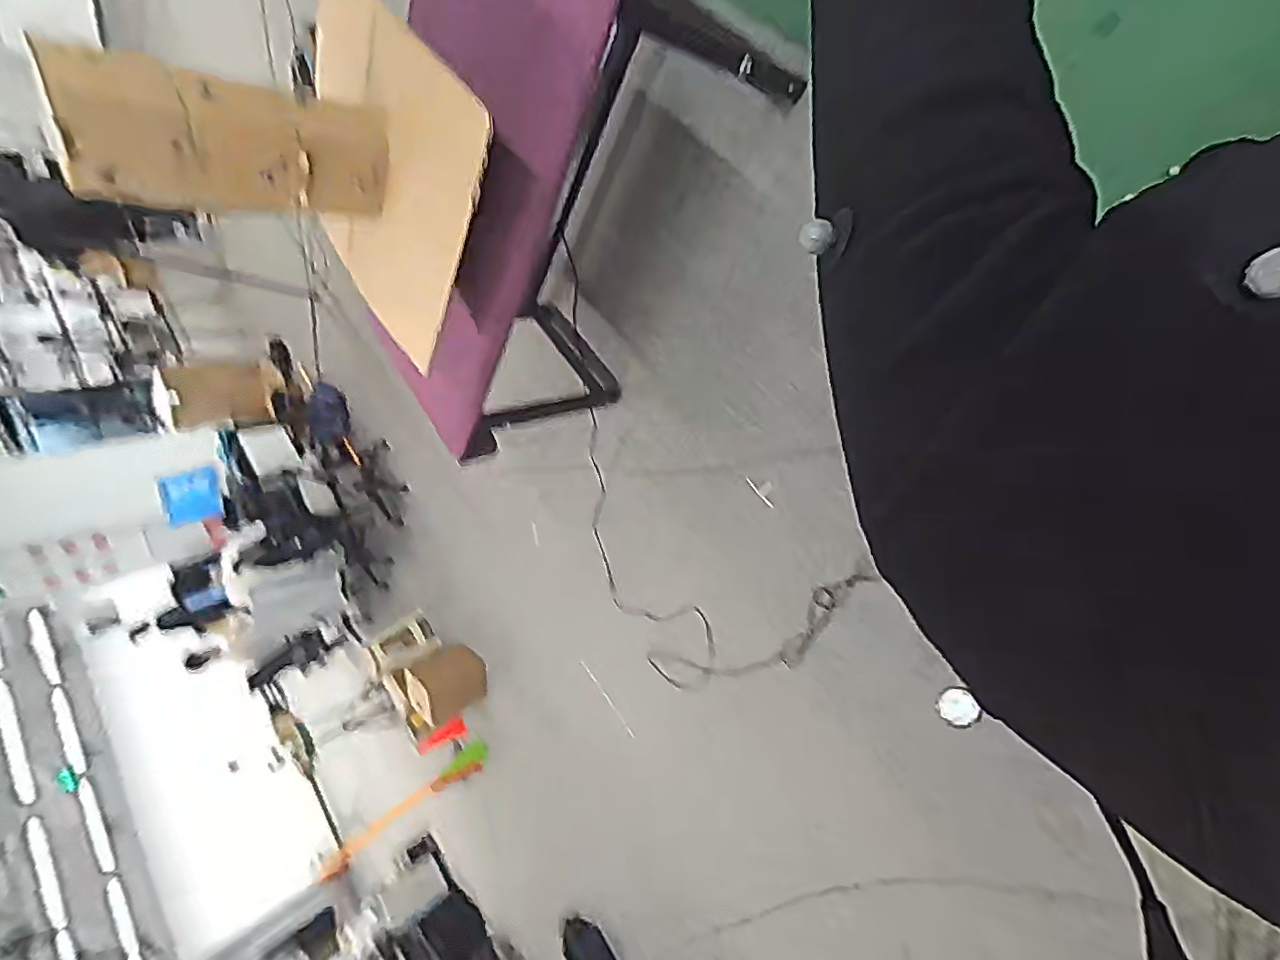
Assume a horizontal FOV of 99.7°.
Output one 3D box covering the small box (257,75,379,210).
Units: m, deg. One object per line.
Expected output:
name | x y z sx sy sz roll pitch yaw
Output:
small box | -0.672 -0.690 1.126 0.179 0.176 0.168 54 134 17

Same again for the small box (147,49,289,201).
small box | -0.785 -0.651 1.015 0.179 0.176 0.168 53 133 18
